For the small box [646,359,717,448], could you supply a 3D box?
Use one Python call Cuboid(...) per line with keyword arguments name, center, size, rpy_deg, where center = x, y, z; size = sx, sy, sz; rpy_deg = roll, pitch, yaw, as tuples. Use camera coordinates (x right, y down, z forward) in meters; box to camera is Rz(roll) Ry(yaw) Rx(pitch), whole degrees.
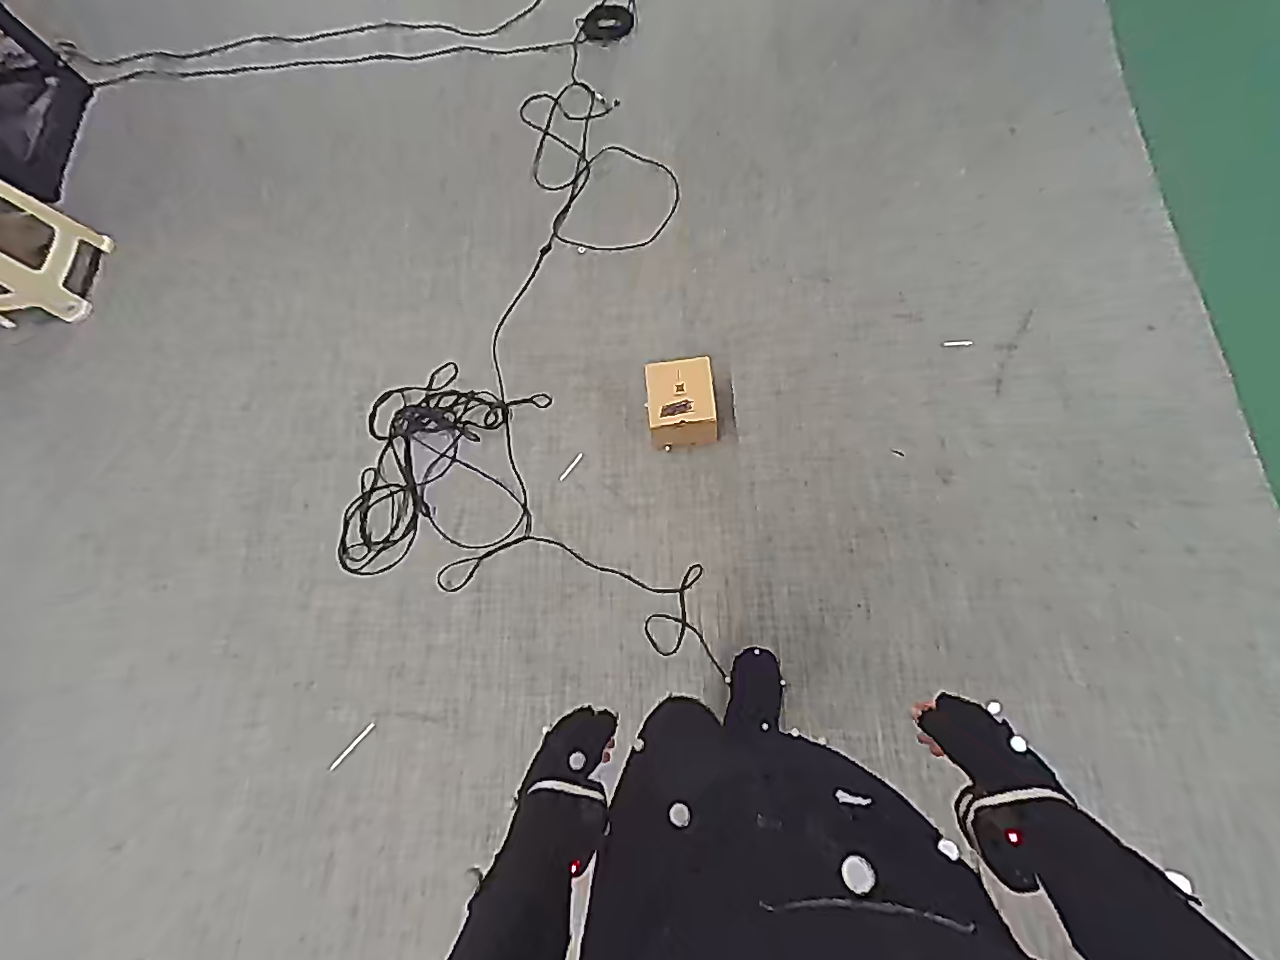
Cuboid(name="small box", center=(0.111, -0.191, 1.407), size=(0.168, 0.176, 0.179), rpy_deg=(-6, 72, 6))
